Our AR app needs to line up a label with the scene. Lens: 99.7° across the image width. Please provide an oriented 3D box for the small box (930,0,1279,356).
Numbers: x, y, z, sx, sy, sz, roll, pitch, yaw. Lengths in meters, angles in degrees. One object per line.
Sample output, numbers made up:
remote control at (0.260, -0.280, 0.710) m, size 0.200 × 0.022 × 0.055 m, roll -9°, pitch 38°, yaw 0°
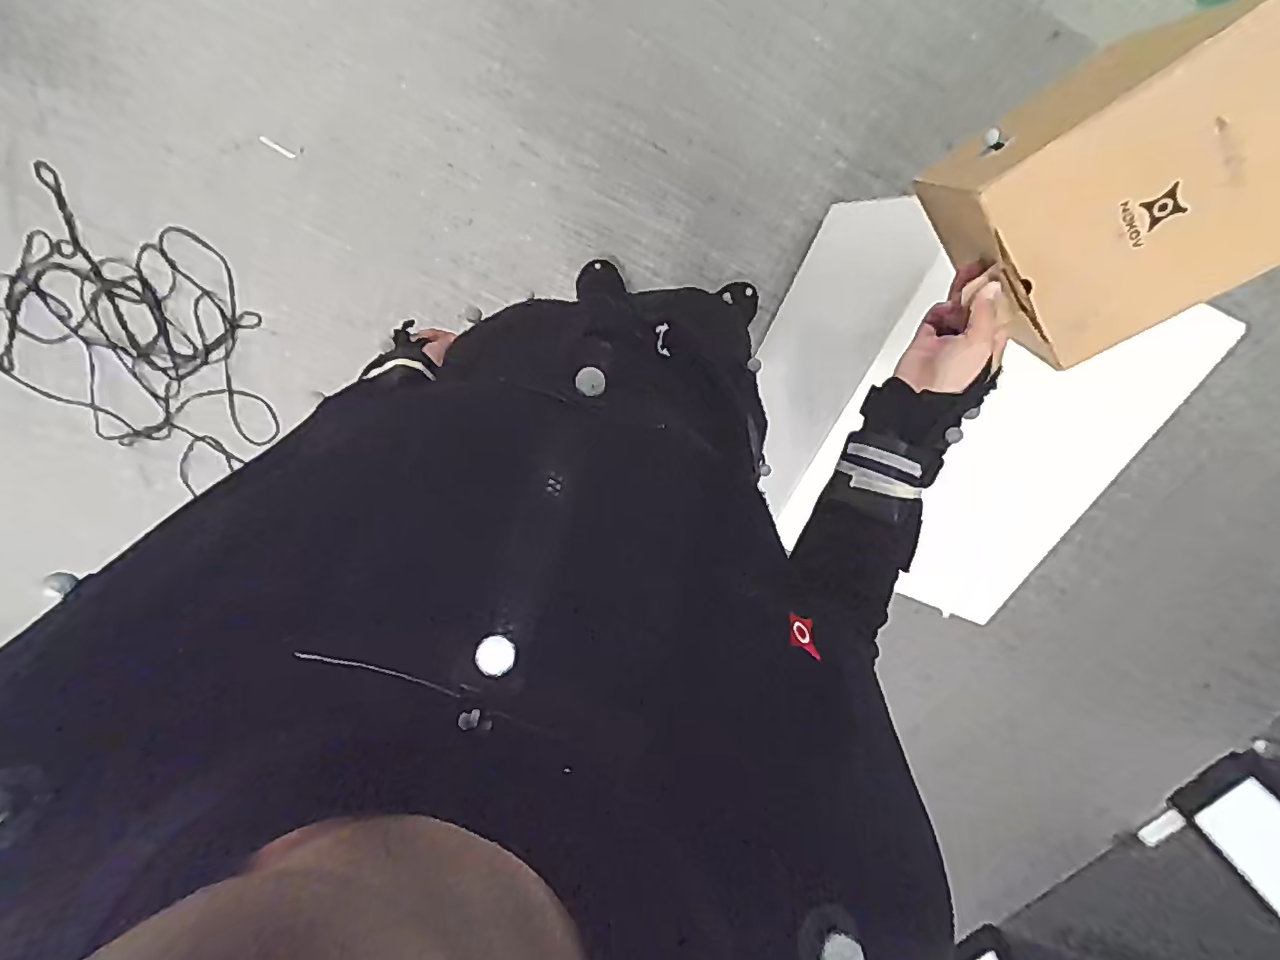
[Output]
small box at (0.361, -0.235, 0.432) m, size 0.179 × 0.176 × 0.168 m, roll -33°, pitch 112°, yaw 25°
